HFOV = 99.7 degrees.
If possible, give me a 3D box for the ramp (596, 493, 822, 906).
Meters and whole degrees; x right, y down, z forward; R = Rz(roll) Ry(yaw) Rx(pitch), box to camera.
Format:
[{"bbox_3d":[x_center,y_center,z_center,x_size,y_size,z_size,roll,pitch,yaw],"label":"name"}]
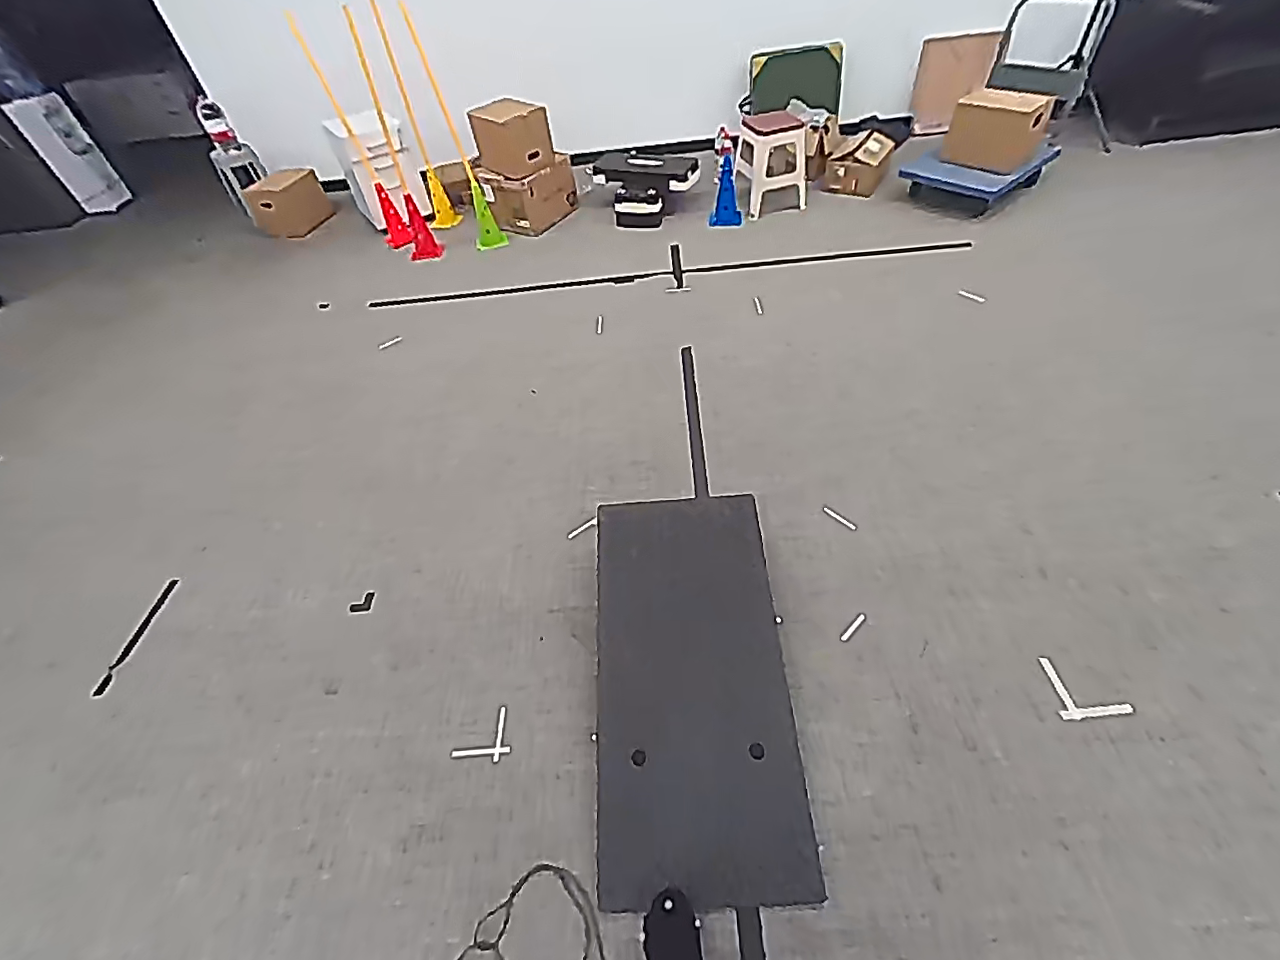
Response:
[{"bbox_3d":[0.130,0.484,1.427,0.509,0.206,0.991,-5,48,1],"label":"ramp"}]
